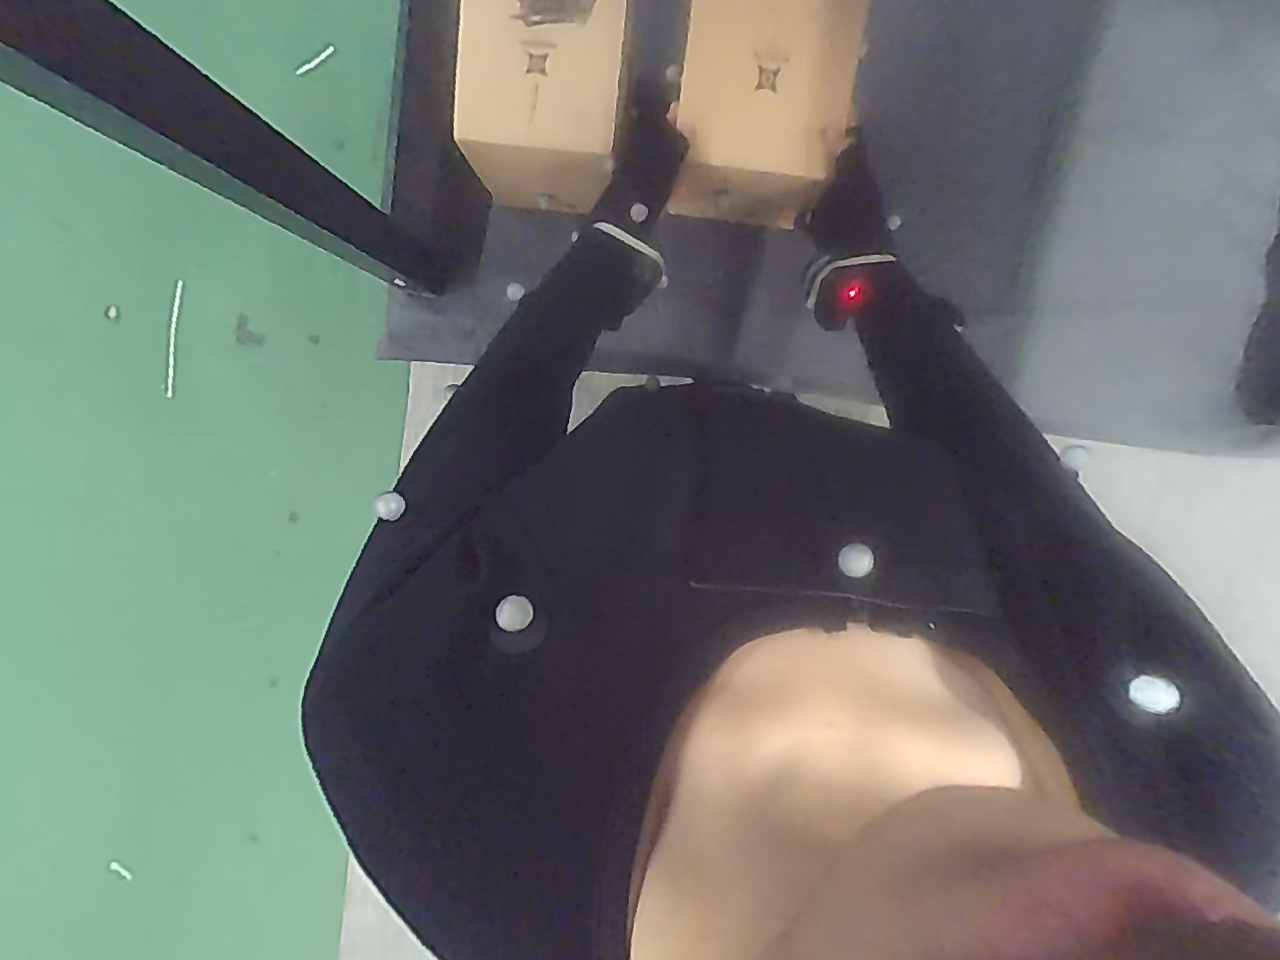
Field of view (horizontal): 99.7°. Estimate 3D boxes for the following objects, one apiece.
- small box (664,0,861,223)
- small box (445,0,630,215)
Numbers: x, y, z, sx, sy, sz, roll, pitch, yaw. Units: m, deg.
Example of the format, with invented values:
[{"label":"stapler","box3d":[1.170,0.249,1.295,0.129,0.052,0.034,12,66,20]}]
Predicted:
[{"label":"small box","box3d":[0.120,-0.401,0.592,0.168,0.176,0.179,7,99,1]},{"label":"small box","box3d":[-0.102,-0.430,0.613,0.168,0.176,0.179,7,96,1]}]
